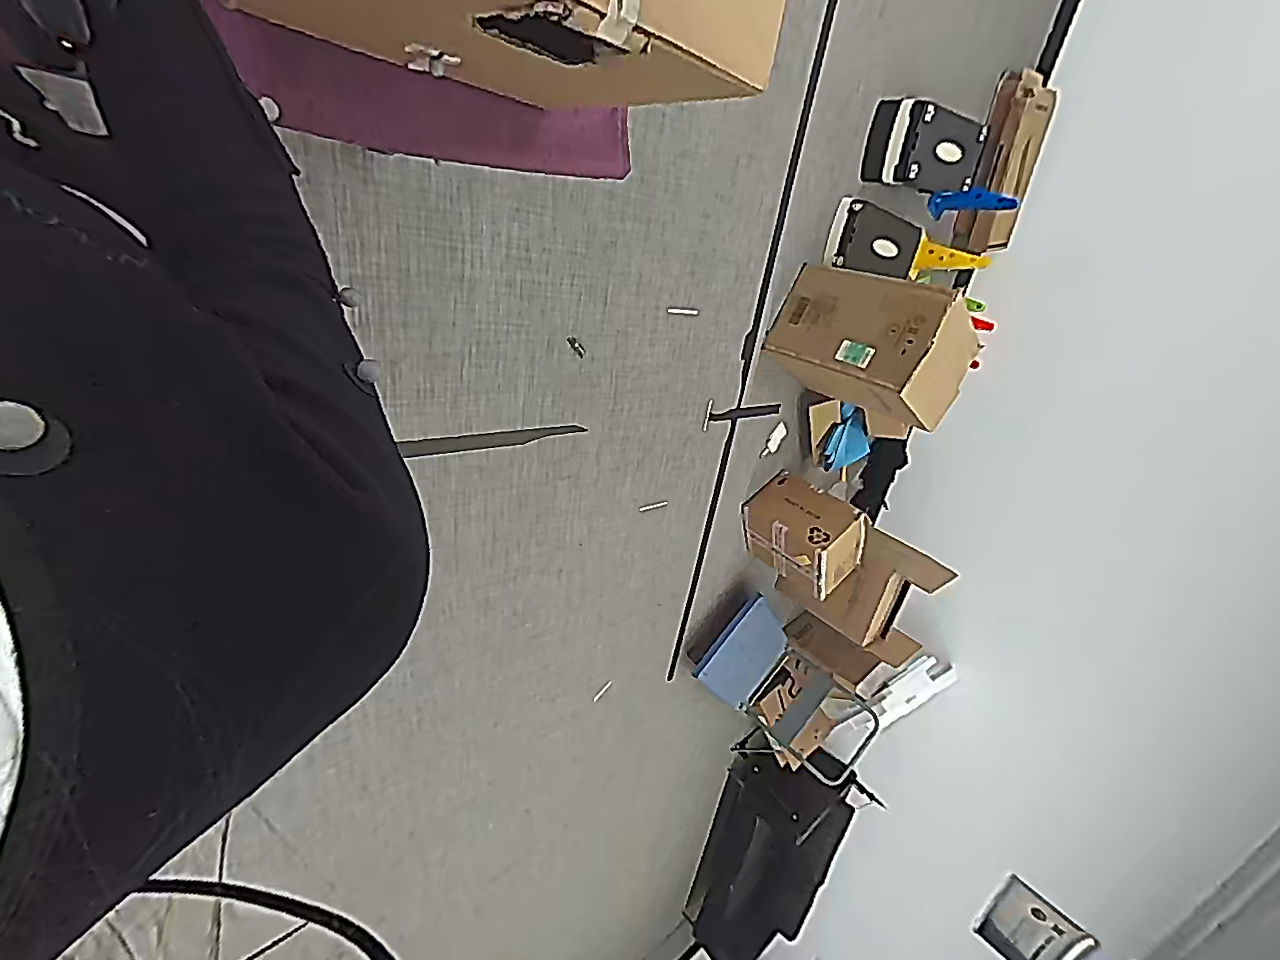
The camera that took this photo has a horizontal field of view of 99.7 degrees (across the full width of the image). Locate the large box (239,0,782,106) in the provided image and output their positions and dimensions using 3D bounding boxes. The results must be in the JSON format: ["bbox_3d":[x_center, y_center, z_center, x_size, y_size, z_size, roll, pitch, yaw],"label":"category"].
[{"bbox_3d":[-0.086,-0.517,0.345,0.320,0.320,0.408,-14,122,-41],"label":"large box"}]
